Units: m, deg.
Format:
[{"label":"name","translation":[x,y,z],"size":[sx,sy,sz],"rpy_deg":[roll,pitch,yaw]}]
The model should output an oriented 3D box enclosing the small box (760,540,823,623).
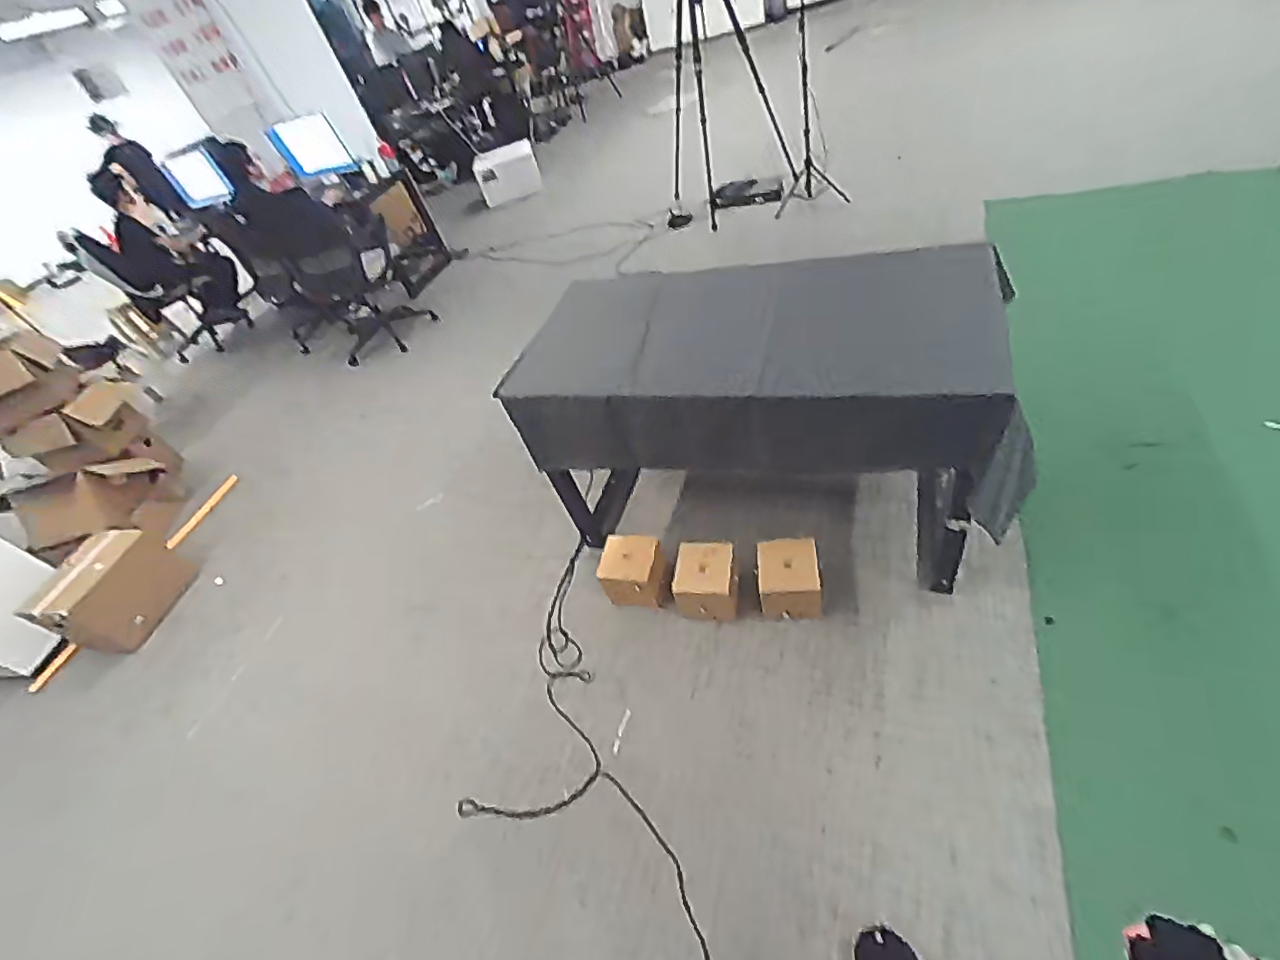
[{"label":"small box","translation":[0.441,0.297,1.580],"size":[0.168,0.176,0.179],"rpy_deg":[-5,45,16]}]
